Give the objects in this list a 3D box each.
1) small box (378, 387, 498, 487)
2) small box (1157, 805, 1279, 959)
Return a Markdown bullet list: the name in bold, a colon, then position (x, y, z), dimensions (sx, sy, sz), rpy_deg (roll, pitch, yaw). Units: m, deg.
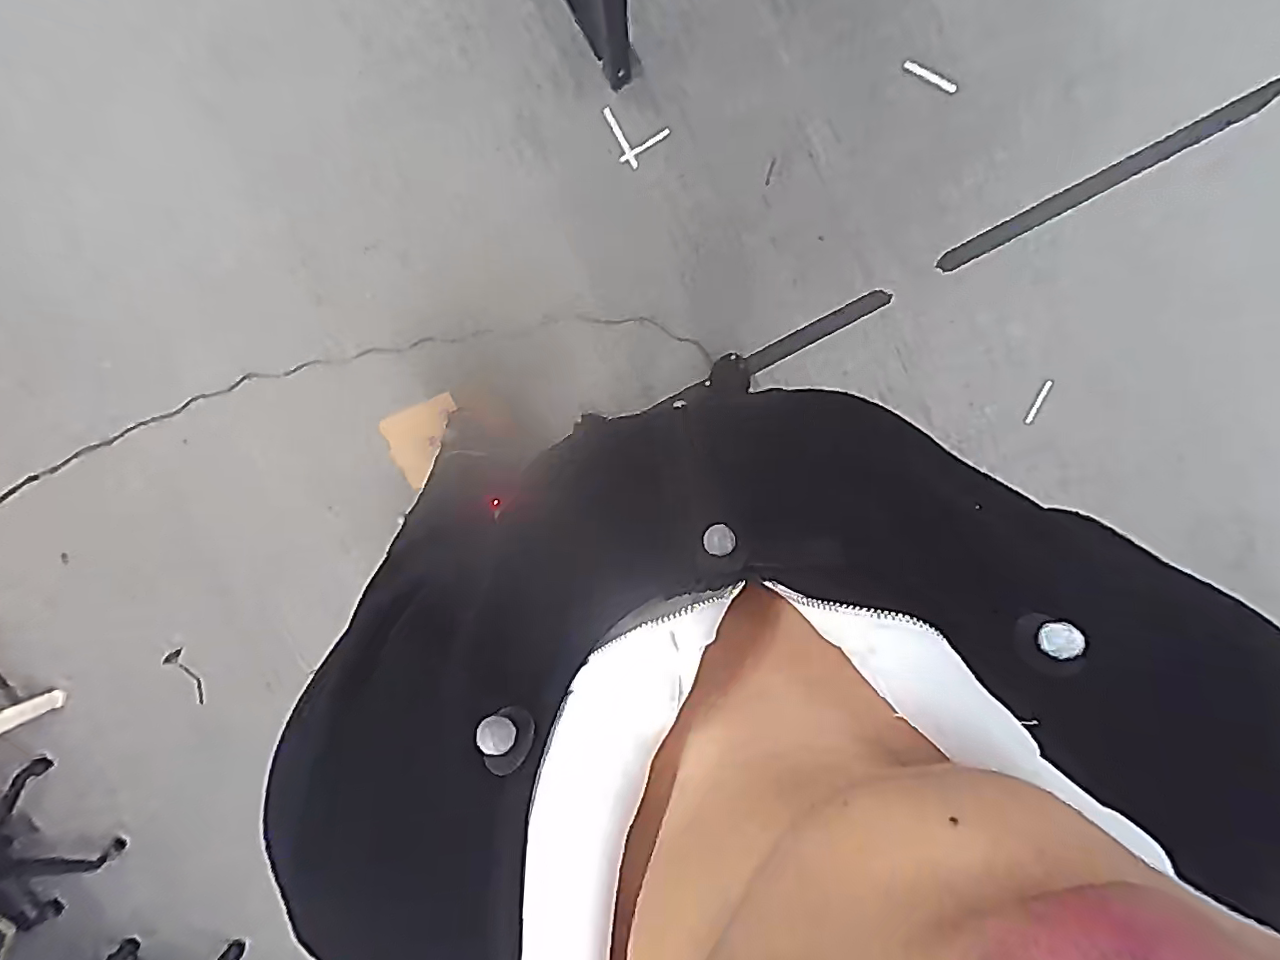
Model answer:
- **small box**: position (-0.452, -0.103, 1.241), dimensions (0.179, 0.176, 0.168), rpy_deg (-24, 102, 4)
- **small box**: position (1.209, 0.810, 1.089), dimensions (0.179, 0.176, 0.168), rpy_deg (-35, 97, 8)
